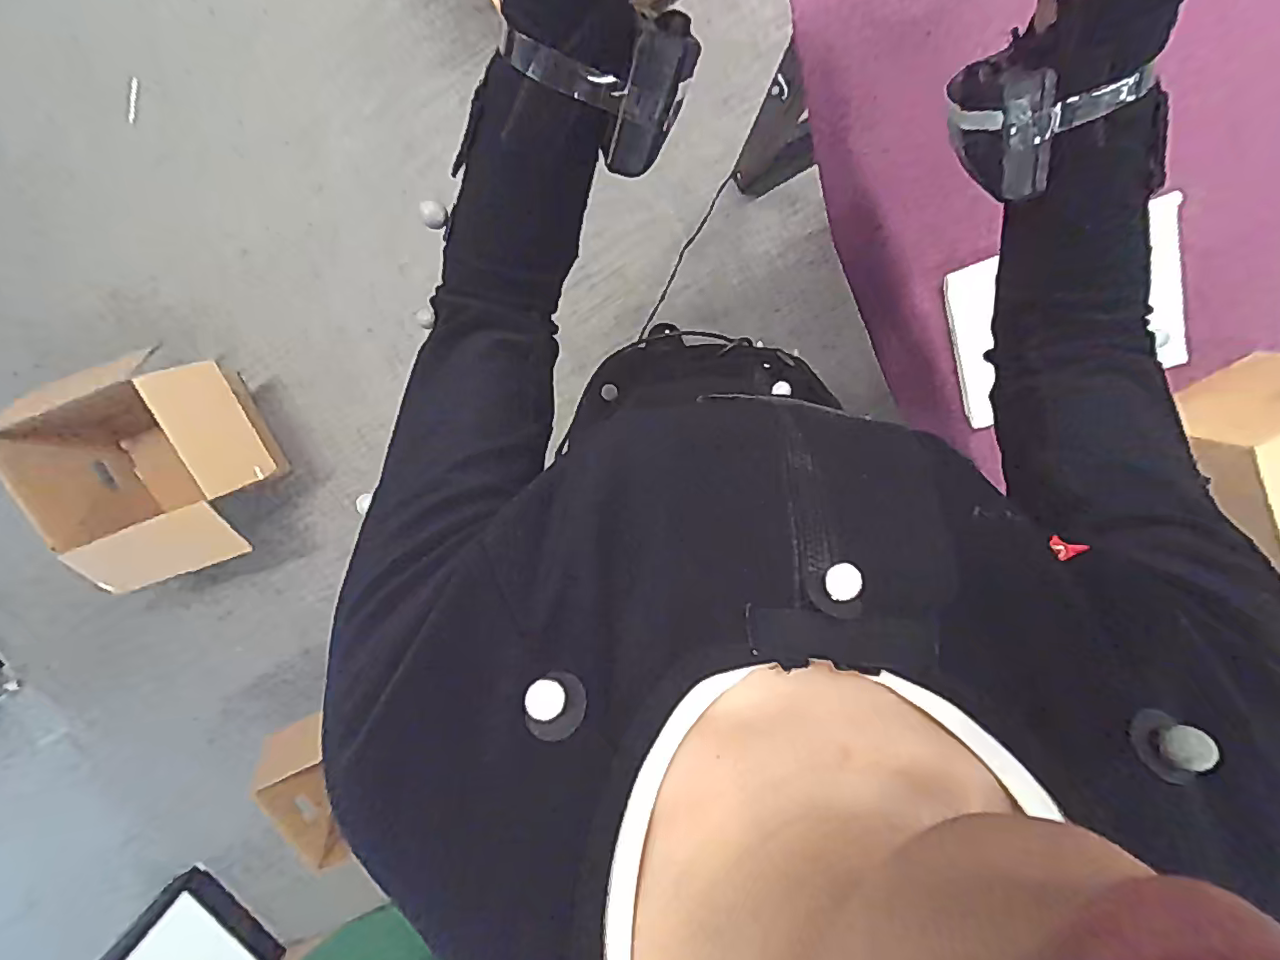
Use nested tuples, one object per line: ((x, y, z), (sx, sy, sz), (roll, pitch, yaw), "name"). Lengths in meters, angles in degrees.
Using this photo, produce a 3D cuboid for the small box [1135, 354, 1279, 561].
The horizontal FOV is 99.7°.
((0.729, -0.031, 0.621), (0.179, 0.176, 0.168), (-29, 102, 9), "small box")
